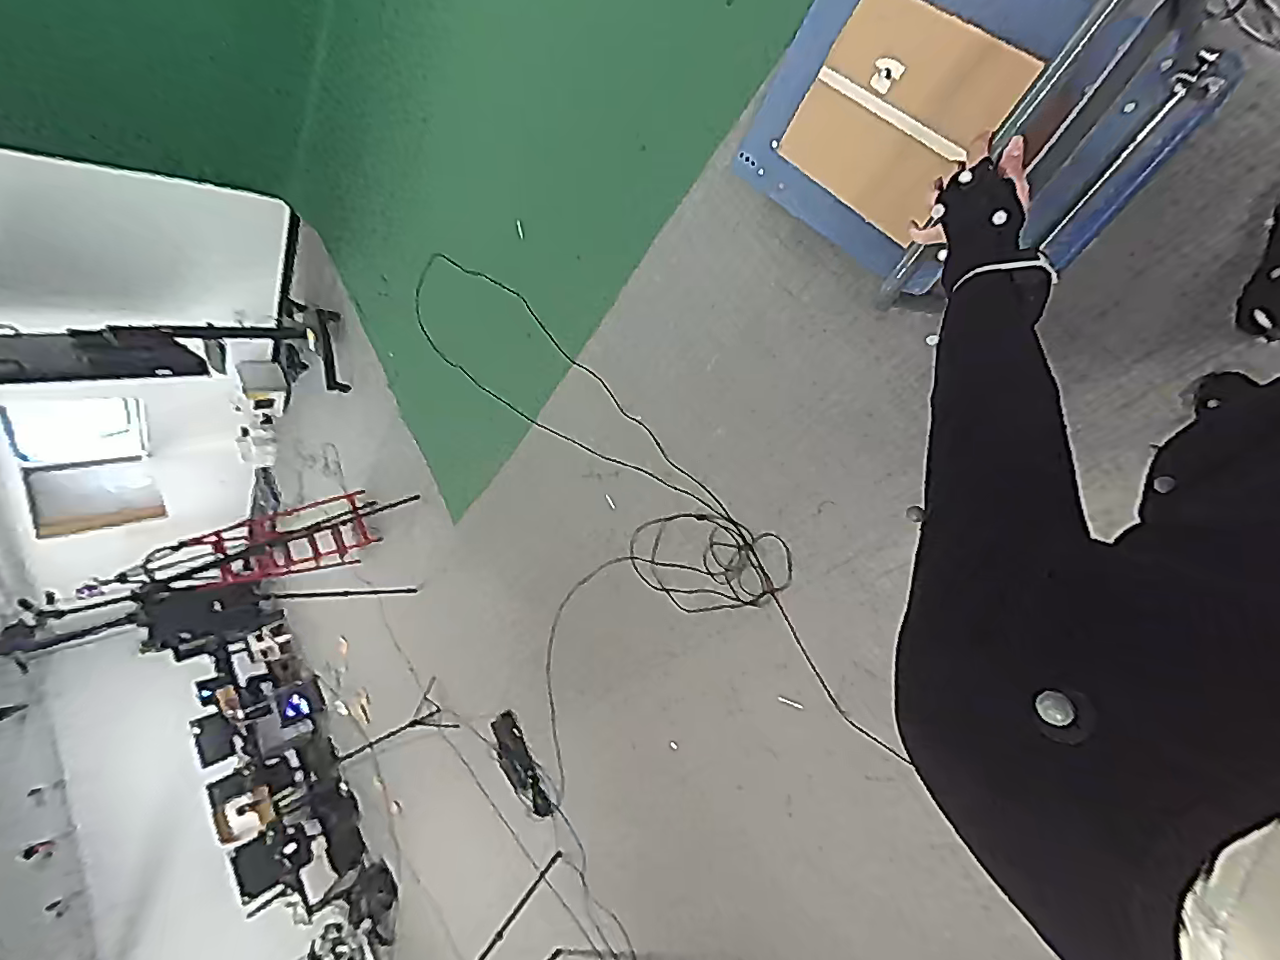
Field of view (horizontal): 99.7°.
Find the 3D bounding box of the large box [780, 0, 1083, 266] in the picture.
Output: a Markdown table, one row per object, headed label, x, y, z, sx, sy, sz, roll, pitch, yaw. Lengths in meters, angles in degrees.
| label | x | y | z | sx | sy | sz | roll | pitch | yaw |
| --- | --- | --- | --- | --- | --- | --- | --- | --- | --- |
| large box | 0.588 | -0.698 | 1.119 | 0.408 | 0.320 | 0.320 | 52 | 130 | 23 |
